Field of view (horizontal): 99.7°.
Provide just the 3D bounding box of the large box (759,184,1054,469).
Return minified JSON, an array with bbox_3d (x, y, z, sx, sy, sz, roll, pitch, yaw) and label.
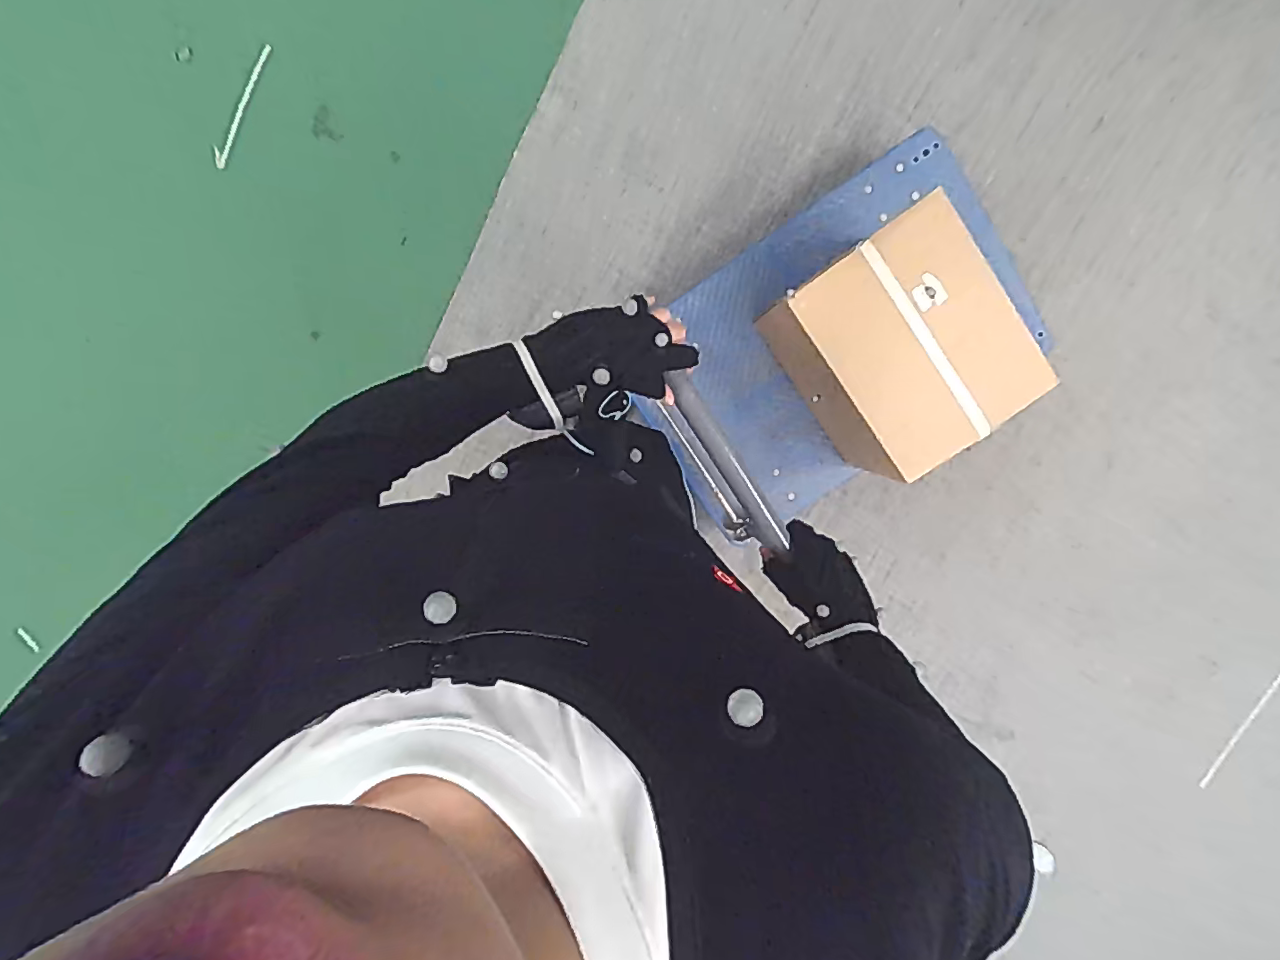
[{"bbox_3d":[0.501,-0.283,1.100,0.320,0.320,0.408,-36,95,6],"label":"large box"}]
